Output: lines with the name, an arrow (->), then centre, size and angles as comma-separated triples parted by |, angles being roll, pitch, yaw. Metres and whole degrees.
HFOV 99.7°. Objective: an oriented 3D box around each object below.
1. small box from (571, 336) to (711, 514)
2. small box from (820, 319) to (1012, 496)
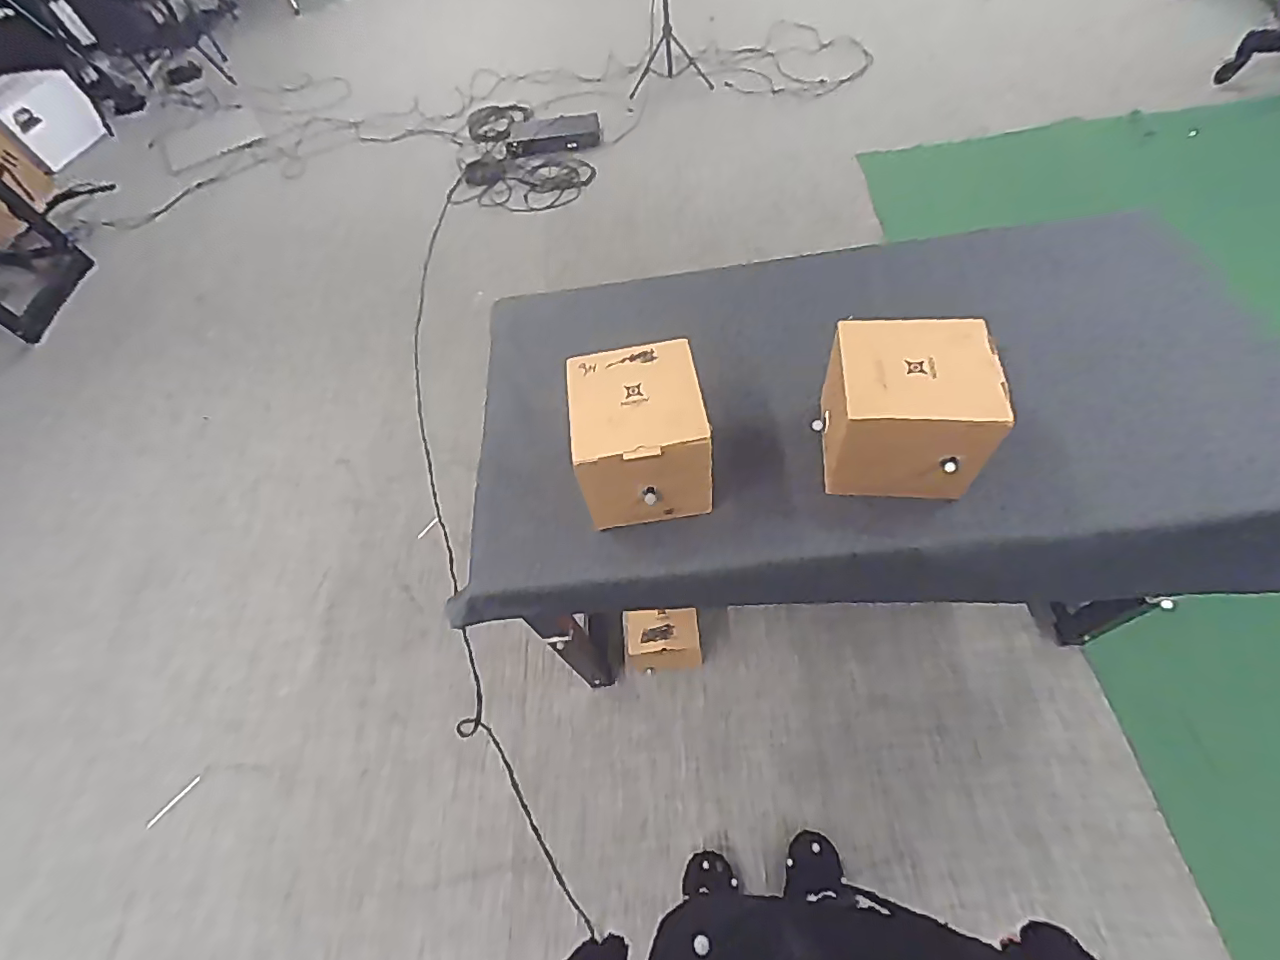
small box -> 0.005, -0.065, 0.741 | 0.168, 0.176, 0.179 | -8, 58, 2
small box -> 0.343, -0.090, 0.713 | 0.179, 0.176, 0.168 | 2, 58, 10
